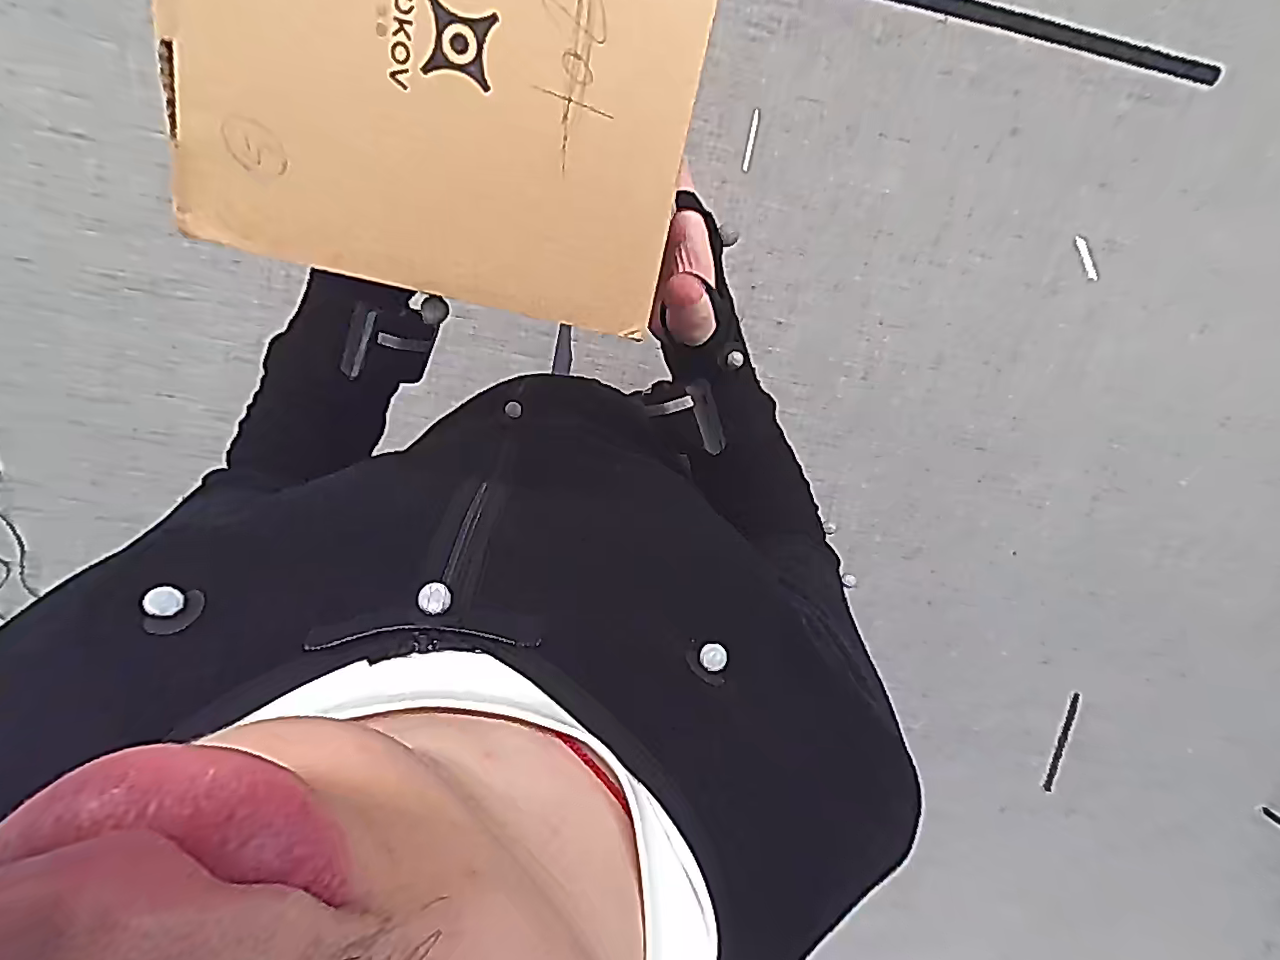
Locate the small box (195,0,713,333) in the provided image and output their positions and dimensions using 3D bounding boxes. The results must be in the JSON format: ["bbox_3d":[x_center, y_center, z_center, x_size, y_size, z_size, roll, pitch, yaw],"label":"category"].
[{"bbox_3d":[-0.074,-0.178,0.271,0.179,0.176,0.168,10,108,-10],"label":"small box"}]
